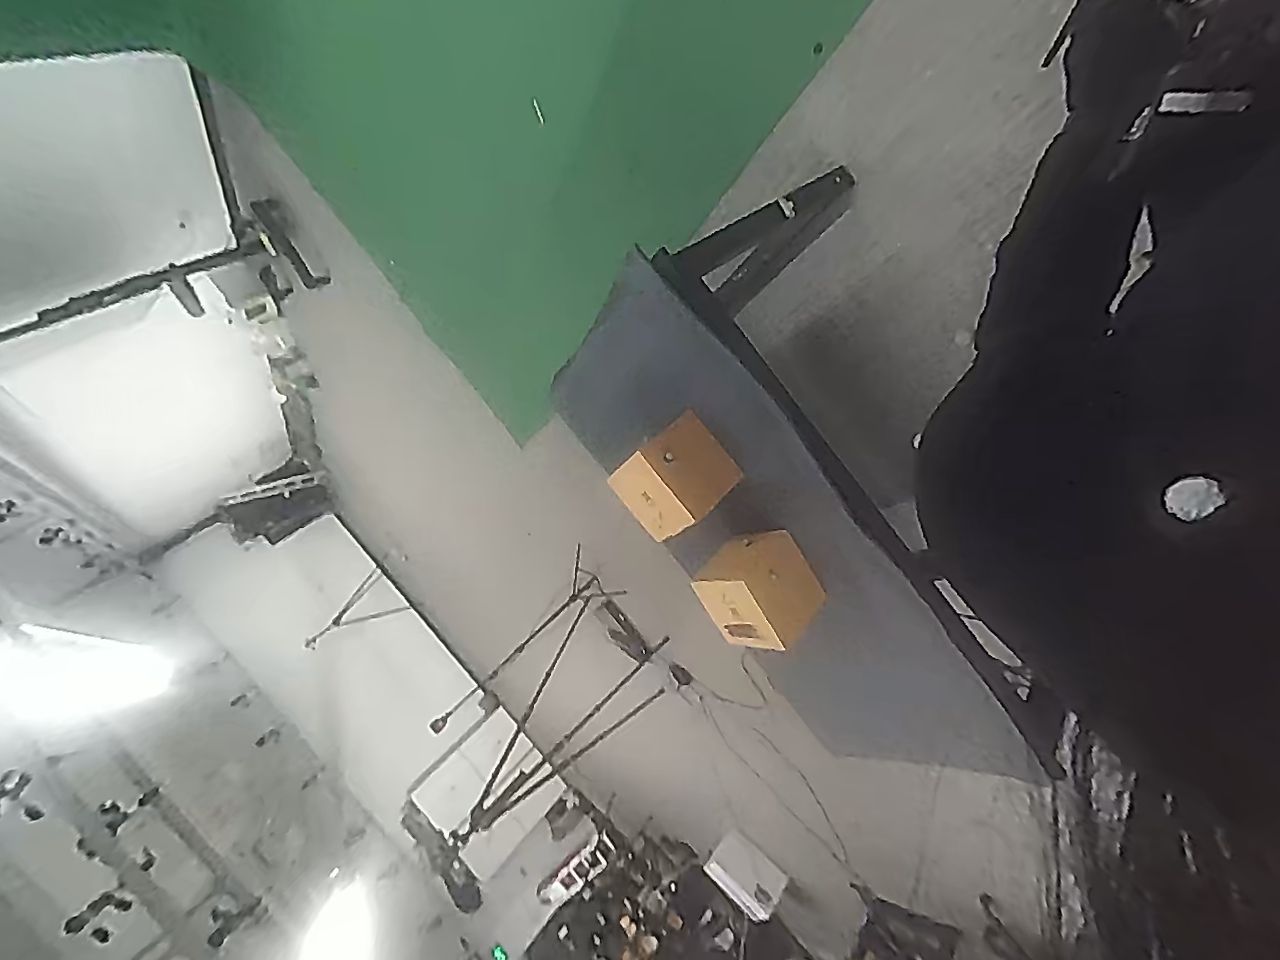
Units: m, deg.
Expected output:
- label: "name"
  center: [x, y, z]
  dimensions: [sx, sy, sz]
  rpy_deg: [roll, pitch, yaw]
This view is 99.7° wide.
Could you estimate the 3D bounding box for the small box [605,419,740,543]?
- label: "small box"
  center: [0.067, -0.003, 1.107]
  dimensions: [0.179, 0.176, 0.168]
  rpy_deg: [50, 147, -1]
